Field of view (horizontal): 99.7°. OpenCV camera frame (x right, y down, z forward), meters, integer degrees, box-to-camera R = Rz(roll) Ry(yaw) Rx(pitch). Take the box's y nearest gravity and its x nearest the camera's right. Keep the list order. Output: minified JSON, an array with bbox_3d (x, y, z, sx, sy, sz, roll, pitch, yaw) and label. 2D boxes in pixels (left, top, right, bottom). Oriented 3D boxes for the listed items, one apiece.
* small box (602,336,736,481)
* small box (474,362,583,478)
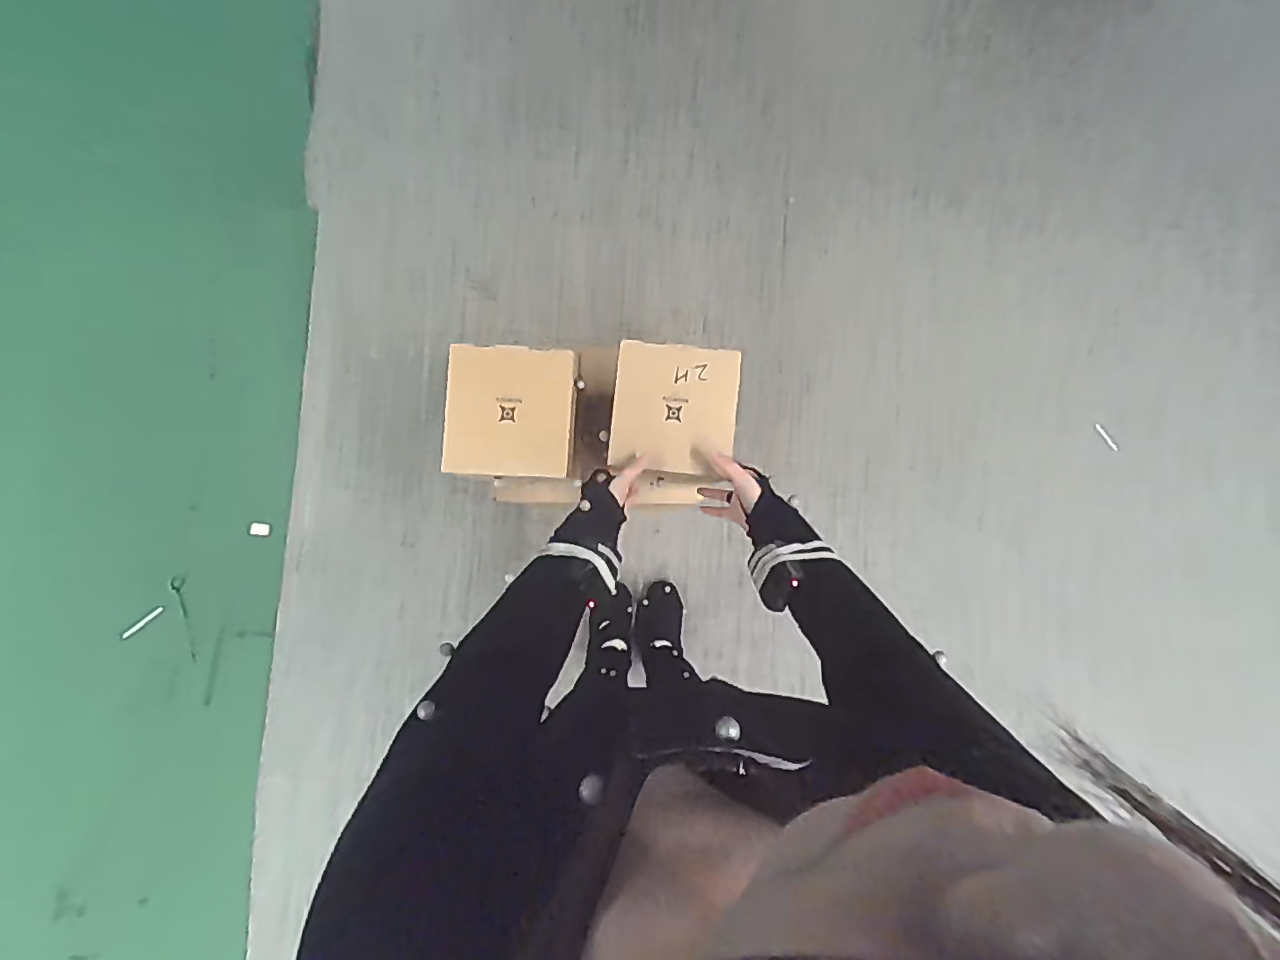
[{"bbox_3d":[0.040,-0.096,0.810,0.168,0.176,0.179,7,86,0],"label":"small box"},{"bbox_3d":[-0.191,-0.099,0.968,0.168,0.176,0.179,3,88,-3],"label":"small box"}]
